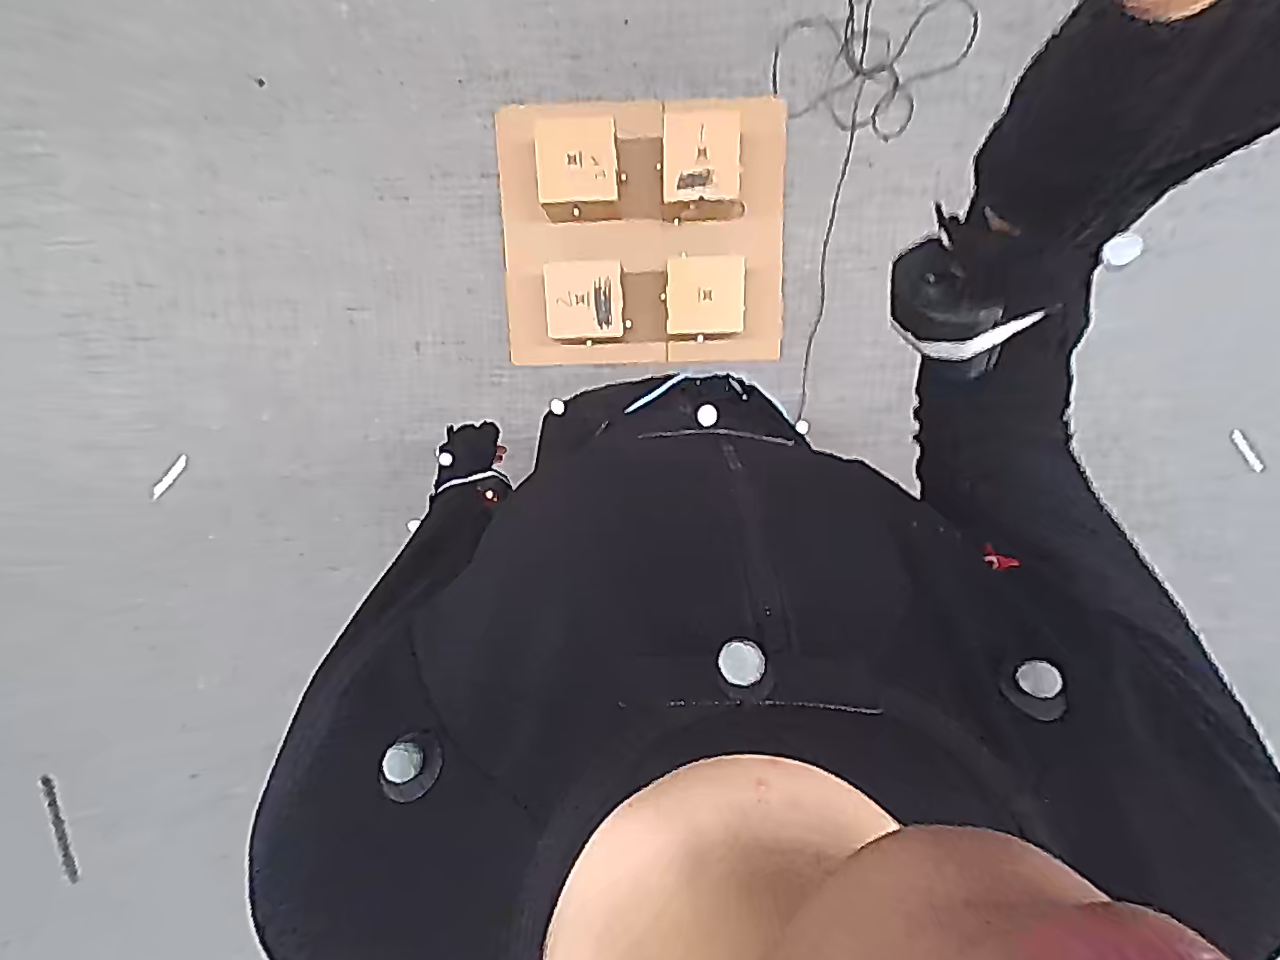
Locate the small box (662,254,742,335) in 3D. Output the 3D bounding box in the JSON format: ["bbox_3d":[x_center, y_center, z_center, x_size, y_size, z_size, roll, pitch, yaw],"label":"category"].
[{"bbox_3d":[0.142,-0.440,1.297,0.179,0.176,0.168,0,102,3],"label":"small box"}]
